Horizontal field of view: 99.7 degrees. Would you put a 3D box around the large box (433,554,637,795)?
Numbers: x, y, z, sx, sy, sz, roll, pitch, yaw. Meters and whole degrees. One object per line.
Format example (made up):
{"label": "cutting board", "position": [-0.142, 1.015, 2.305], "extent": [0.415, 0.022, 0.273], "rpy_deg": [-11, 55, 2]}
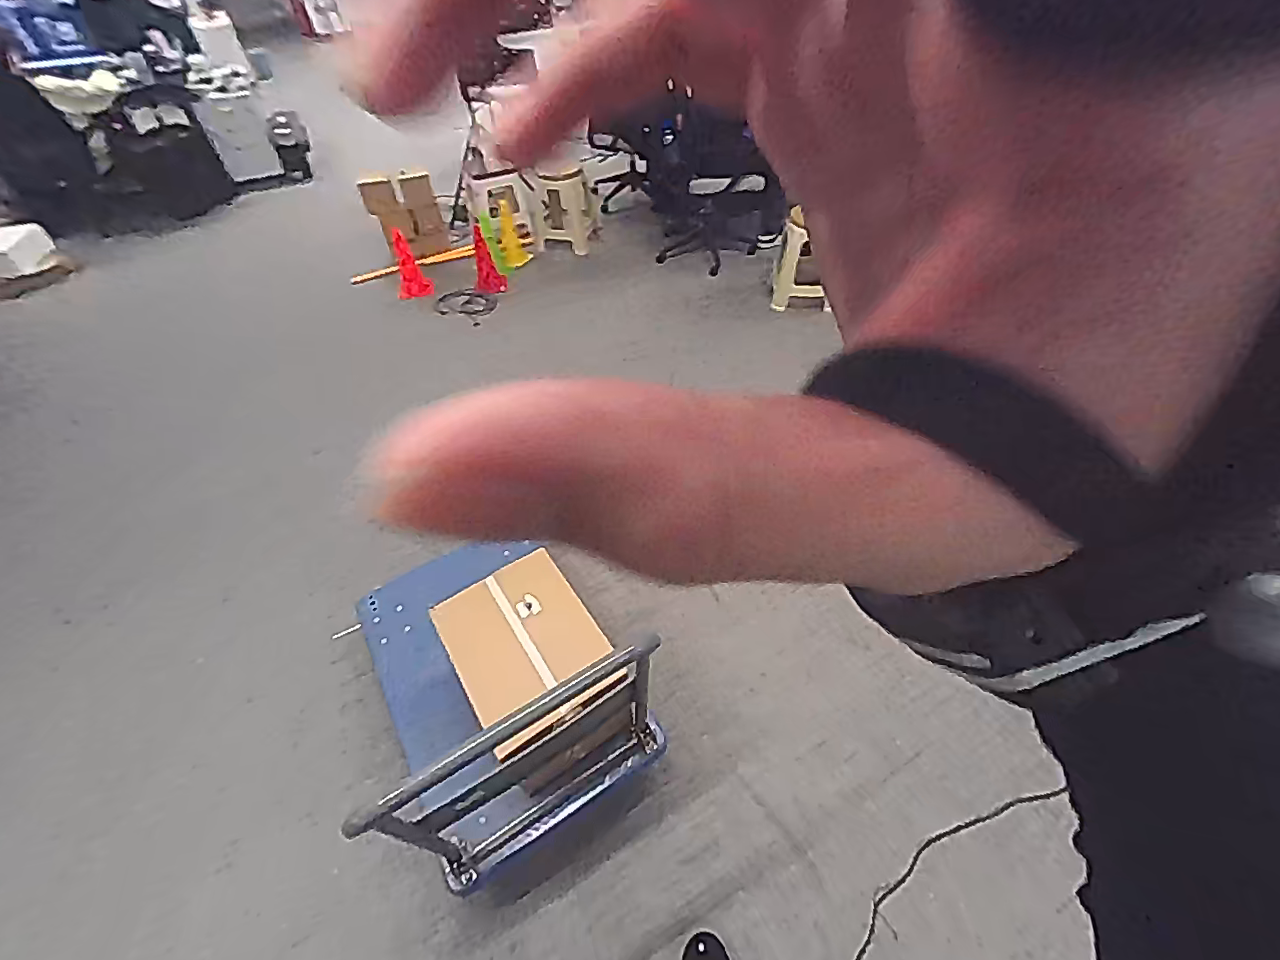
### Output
{"label": "large box", "position": [-0.249, 0.474, 1.343], "extent": [0.320, 0.320, 0.408], "rpy_deg": [-28, 52, -22]}
